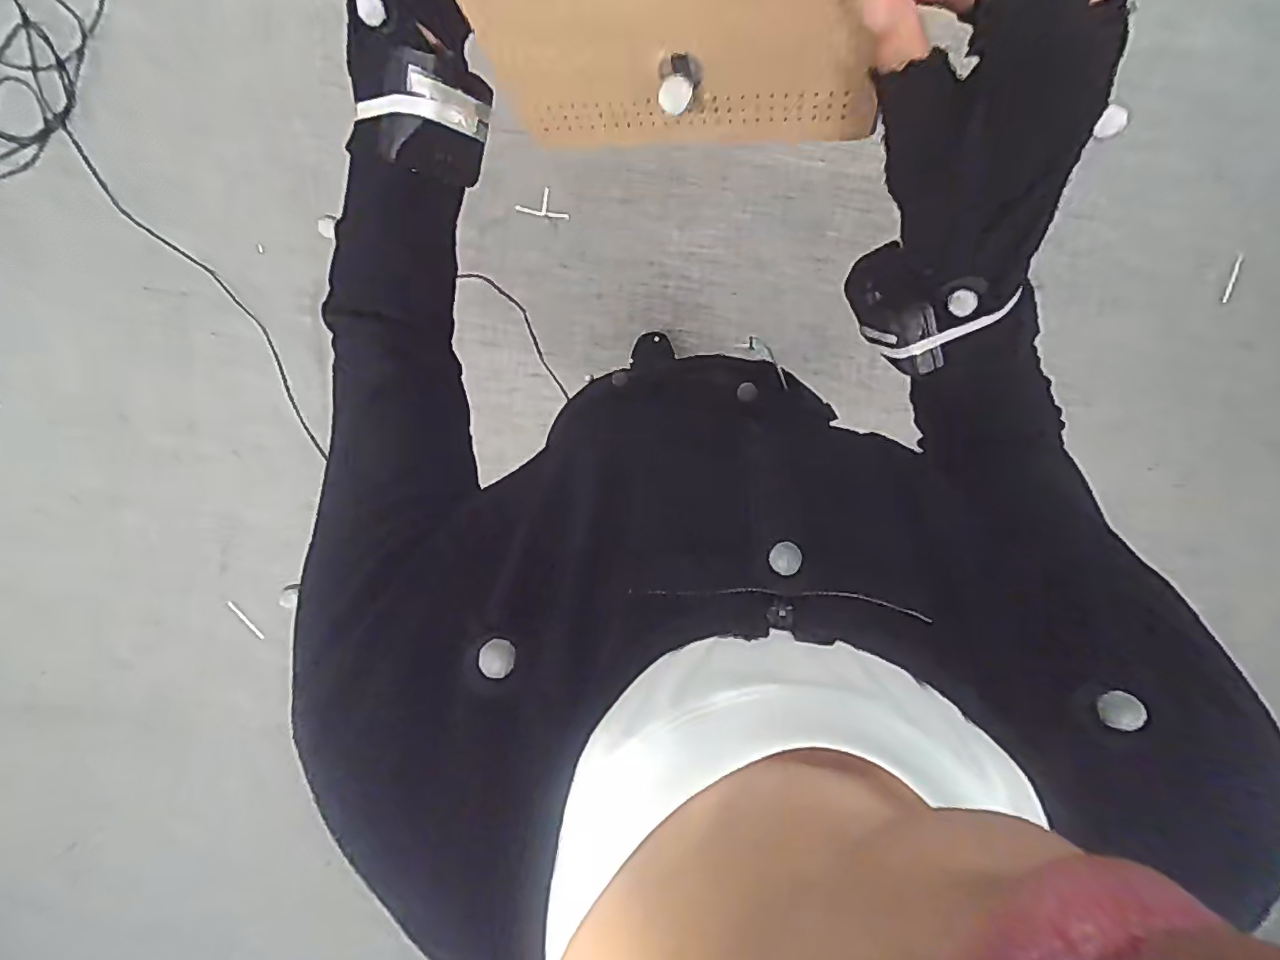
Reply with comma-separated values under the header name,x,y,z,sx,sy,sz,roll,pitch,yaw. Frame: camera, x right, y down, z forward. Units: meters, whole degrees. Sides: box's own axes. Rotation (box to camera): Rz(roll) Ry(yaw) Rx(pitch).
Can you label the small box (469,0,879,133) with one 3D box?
name,x,y,z,sx,sy,sz,roll,pitch,yaw
small box,0.019,-0.275,0.219,0.179,0.176,0.168,7,79,14
